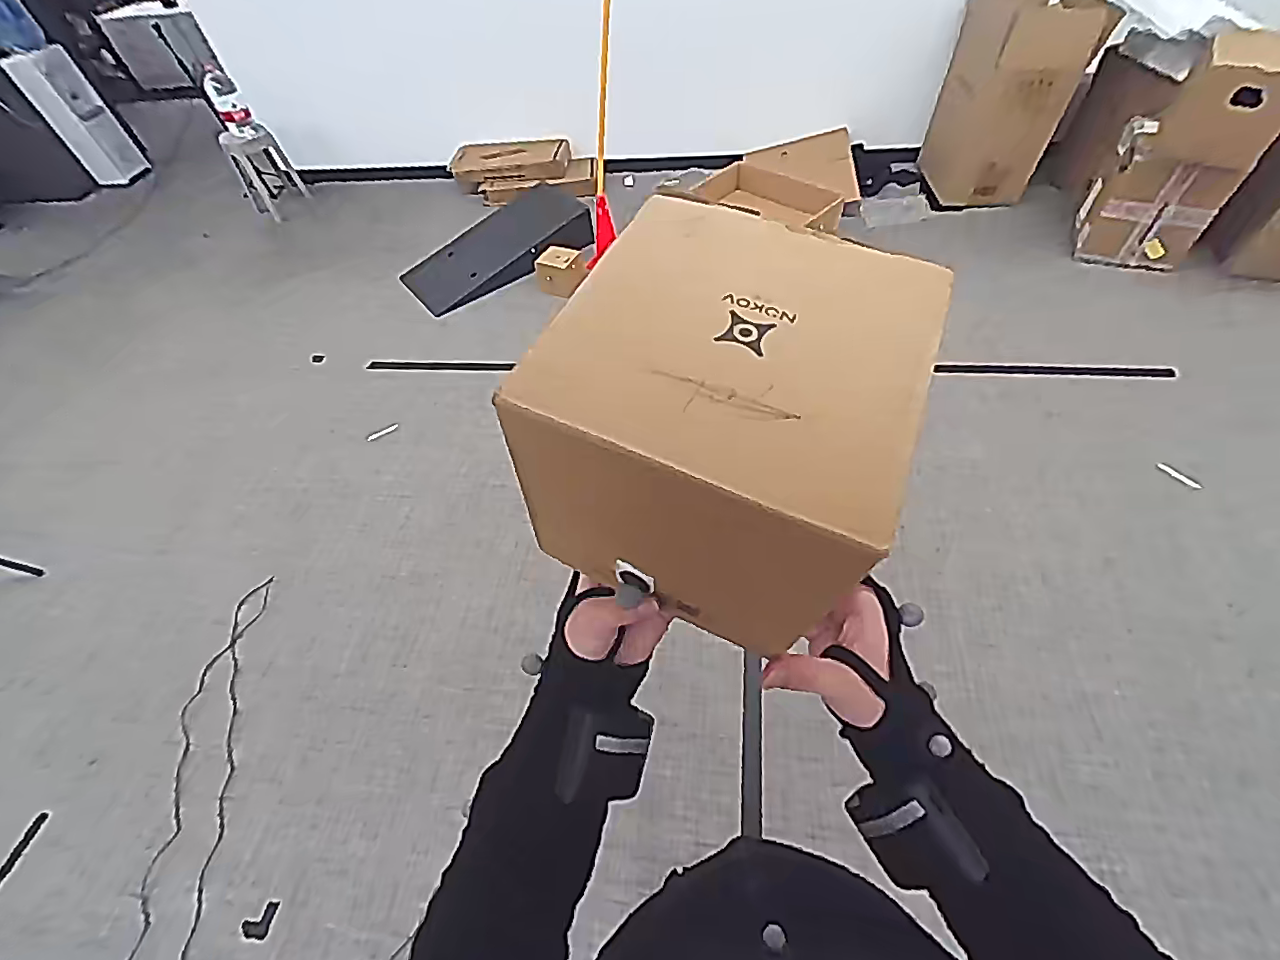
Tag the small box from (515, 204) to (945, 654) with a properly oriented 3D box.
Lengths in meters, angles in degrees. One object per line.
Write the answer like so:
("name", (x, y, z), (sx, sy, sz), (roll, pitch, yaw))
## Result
("small box", (0.049, -0.023, 0.327), (0.168, 0.176, 0.179), (22, 61, 11))
